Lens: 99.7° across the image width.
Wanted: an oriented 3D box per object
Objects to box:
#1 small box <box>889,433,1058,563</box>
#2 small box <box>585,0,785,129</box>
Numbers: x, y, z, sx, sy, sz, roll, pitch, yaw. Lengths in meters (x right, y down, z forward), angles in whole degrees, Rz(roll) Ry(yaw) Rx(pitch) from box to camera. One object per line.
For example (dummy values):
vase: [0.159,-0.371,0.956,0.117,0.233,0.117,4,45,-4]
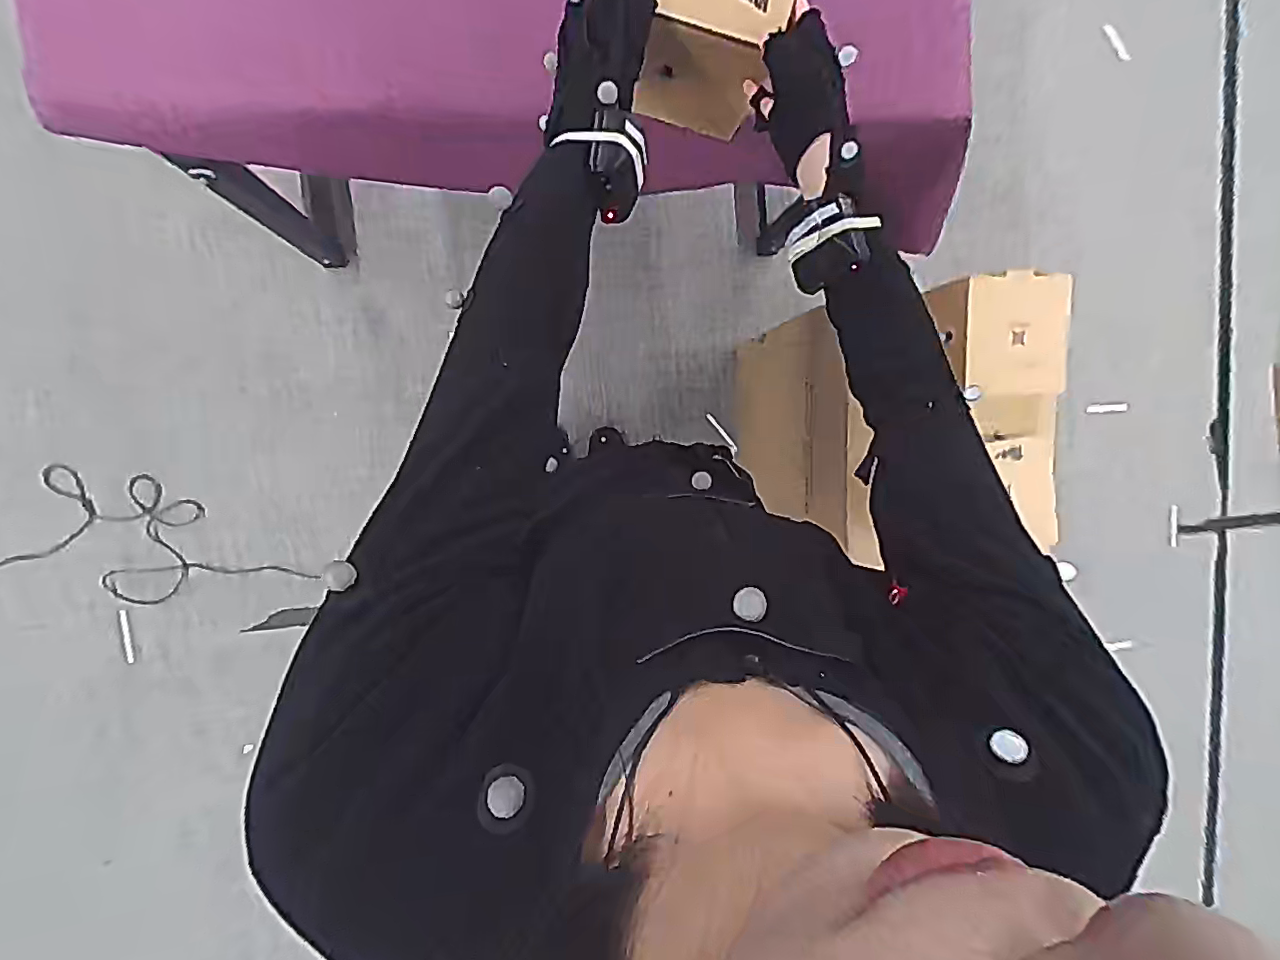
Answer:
small box: [0.537,0.021,0.888,0.168,0.176,0.179,-10,96,-6]
small box: [0.045,-0.495,0.548,0.179,0.176,0.168,12,96,-7]
